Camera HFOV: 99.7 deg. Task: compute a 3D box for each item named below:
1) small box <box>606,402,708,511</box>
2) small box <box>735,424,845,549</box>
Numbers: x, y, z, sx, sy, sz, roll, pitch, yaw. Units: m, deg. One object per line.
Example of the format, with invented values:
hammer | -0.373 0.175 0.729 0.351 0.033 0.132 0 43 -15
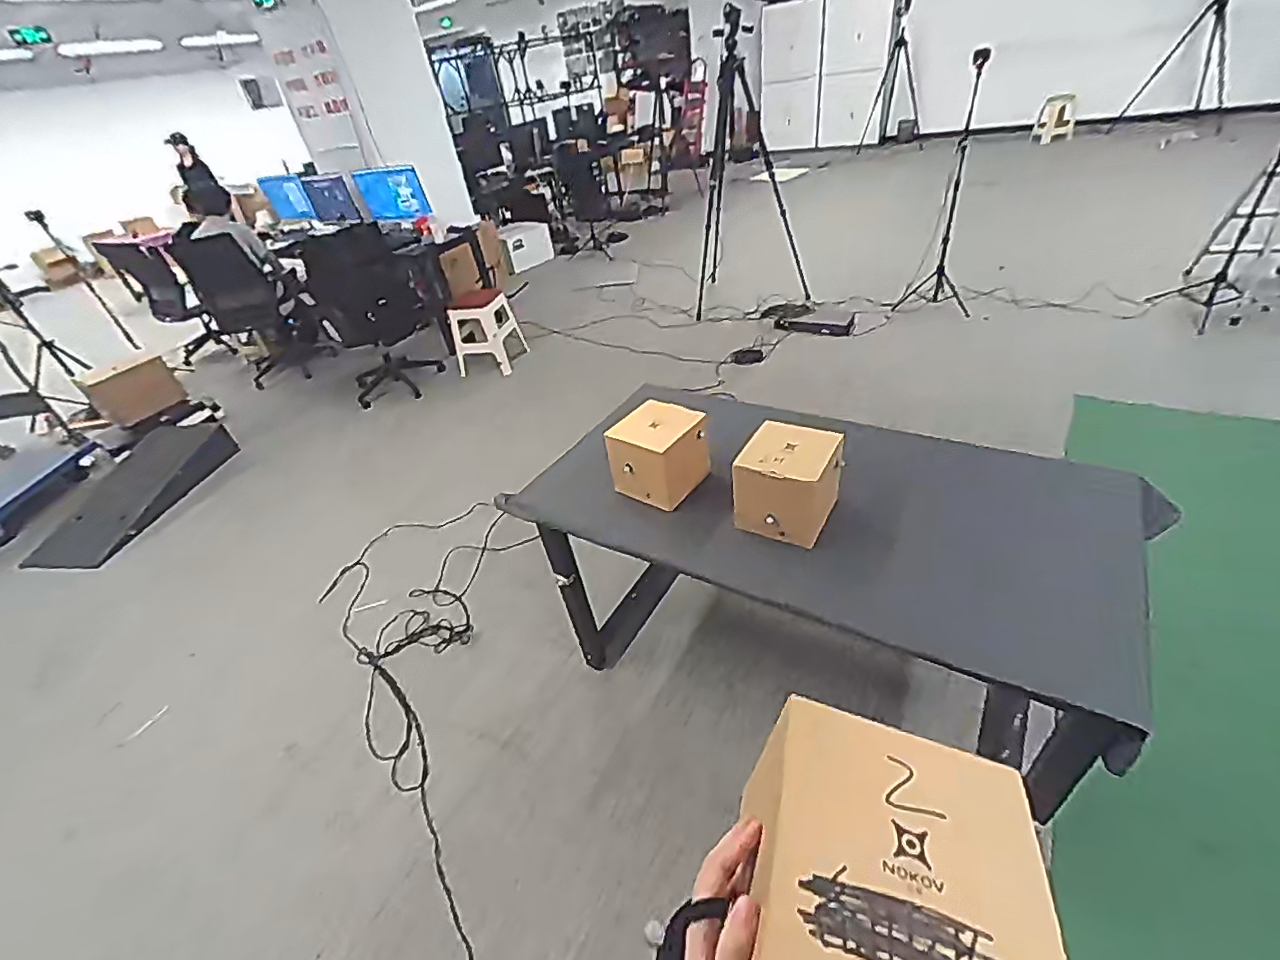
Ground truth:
small box | 0.049 -0.055 1.257 0.168 0.176 0.179 20 45 34
small box | 0.306 0.010 1.112 0.168 0.176 0.179 15 43 30
